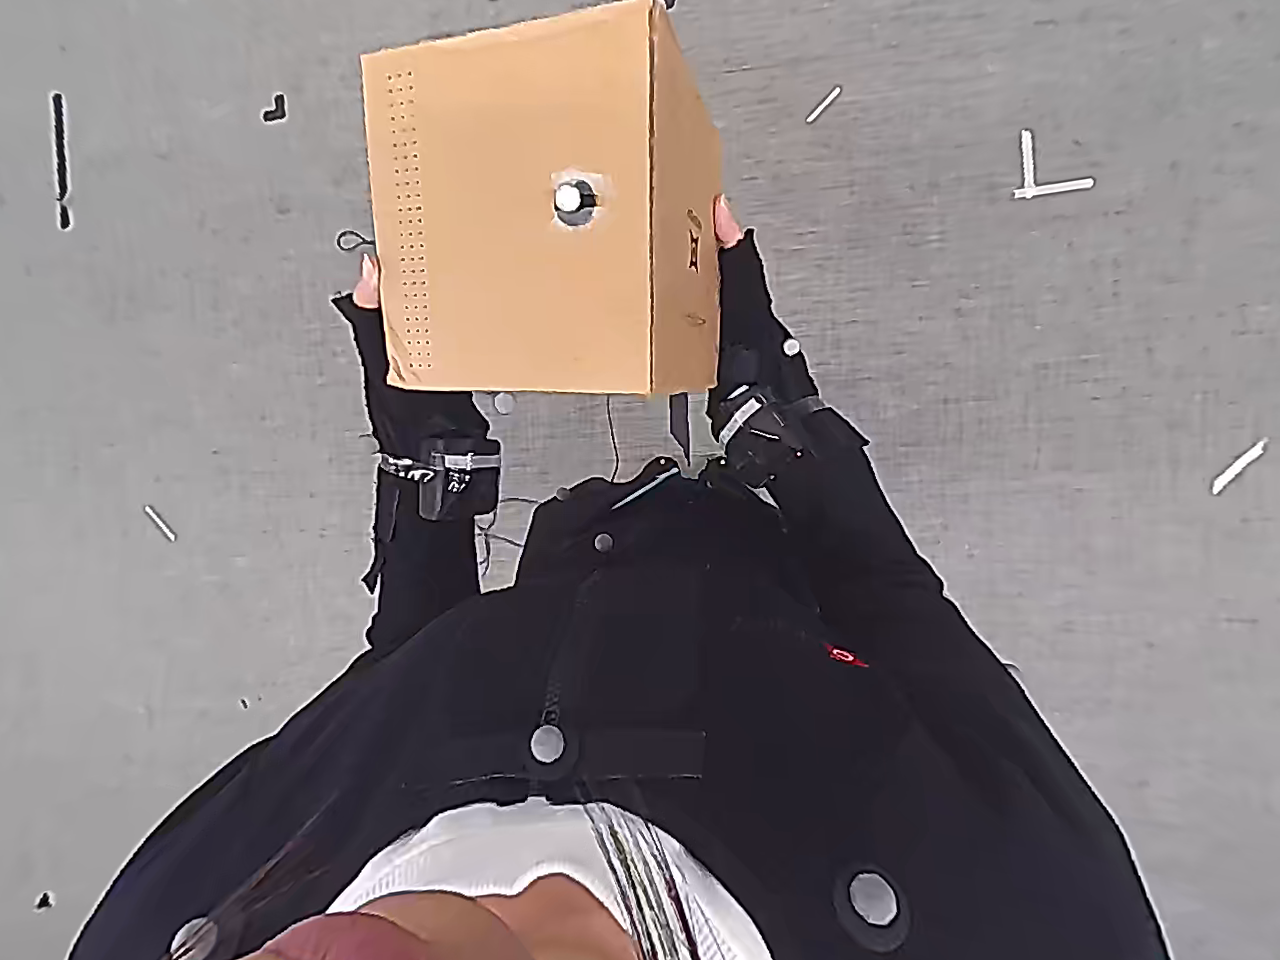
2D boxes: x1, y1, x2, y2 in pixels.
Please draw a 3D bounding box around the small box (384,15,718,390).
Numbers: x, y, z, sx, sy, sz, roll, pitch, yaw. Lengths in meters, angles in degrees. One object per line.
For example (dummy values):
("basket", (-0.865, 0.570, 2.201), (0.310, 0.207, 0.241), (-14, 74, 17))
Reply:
("small box", (-0.047, -0.151, 0.364), (0.176, 0.168, 0.179), (4, 102, 19))
